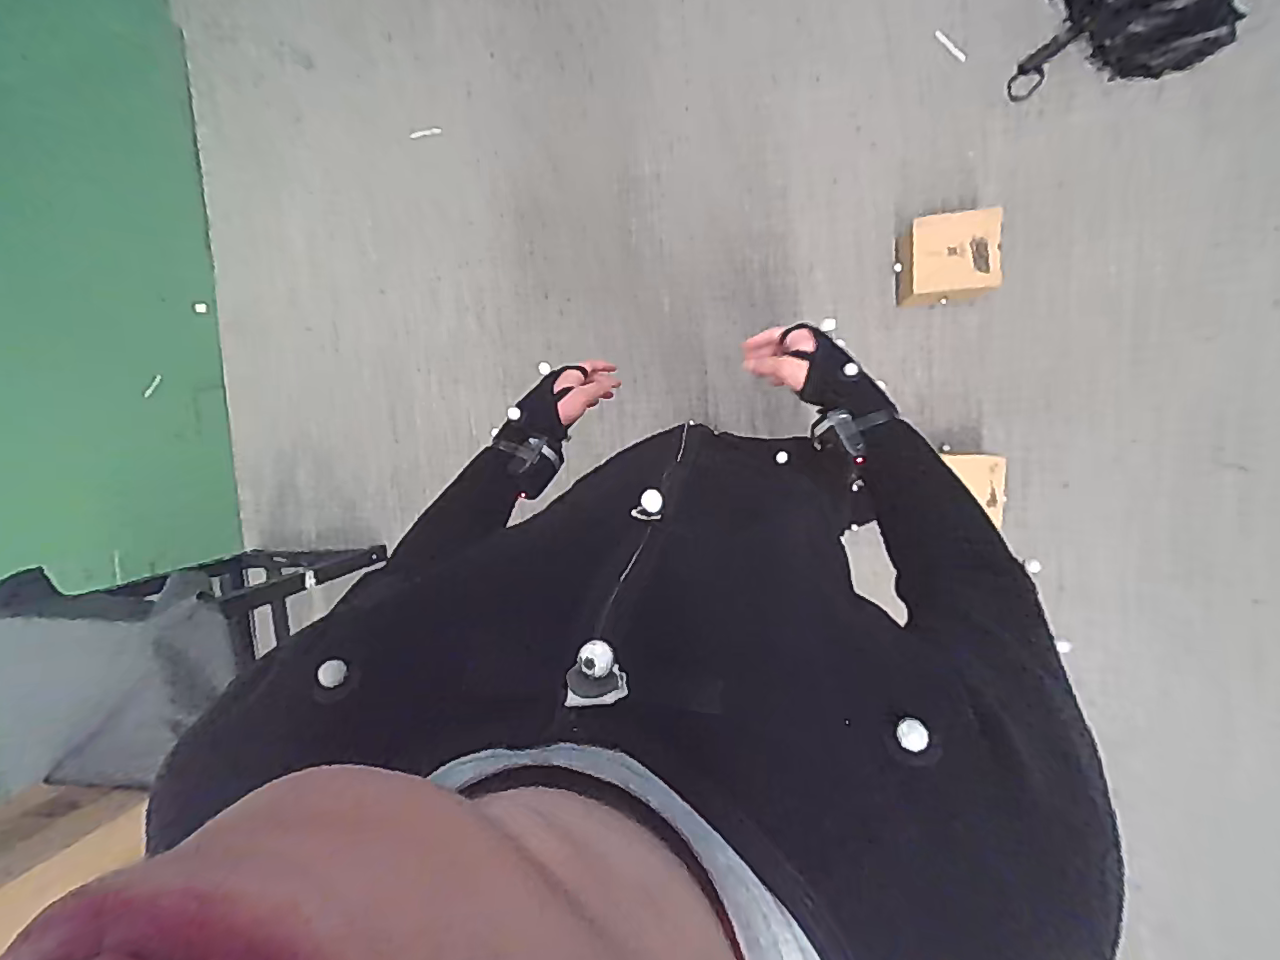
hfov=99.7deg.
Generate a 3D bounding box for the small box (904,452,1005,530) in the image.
[{"bbox_3d":[0.750,0.021,1.310,0.179,0.176,0.168,2,97,16],"label":"small box"}]

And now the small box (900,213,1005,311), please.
[{"bbox_3d":[0.718,-0.499,1.259,0.179,0.176,0.168,-1,96,17],"label":"small box"}]
